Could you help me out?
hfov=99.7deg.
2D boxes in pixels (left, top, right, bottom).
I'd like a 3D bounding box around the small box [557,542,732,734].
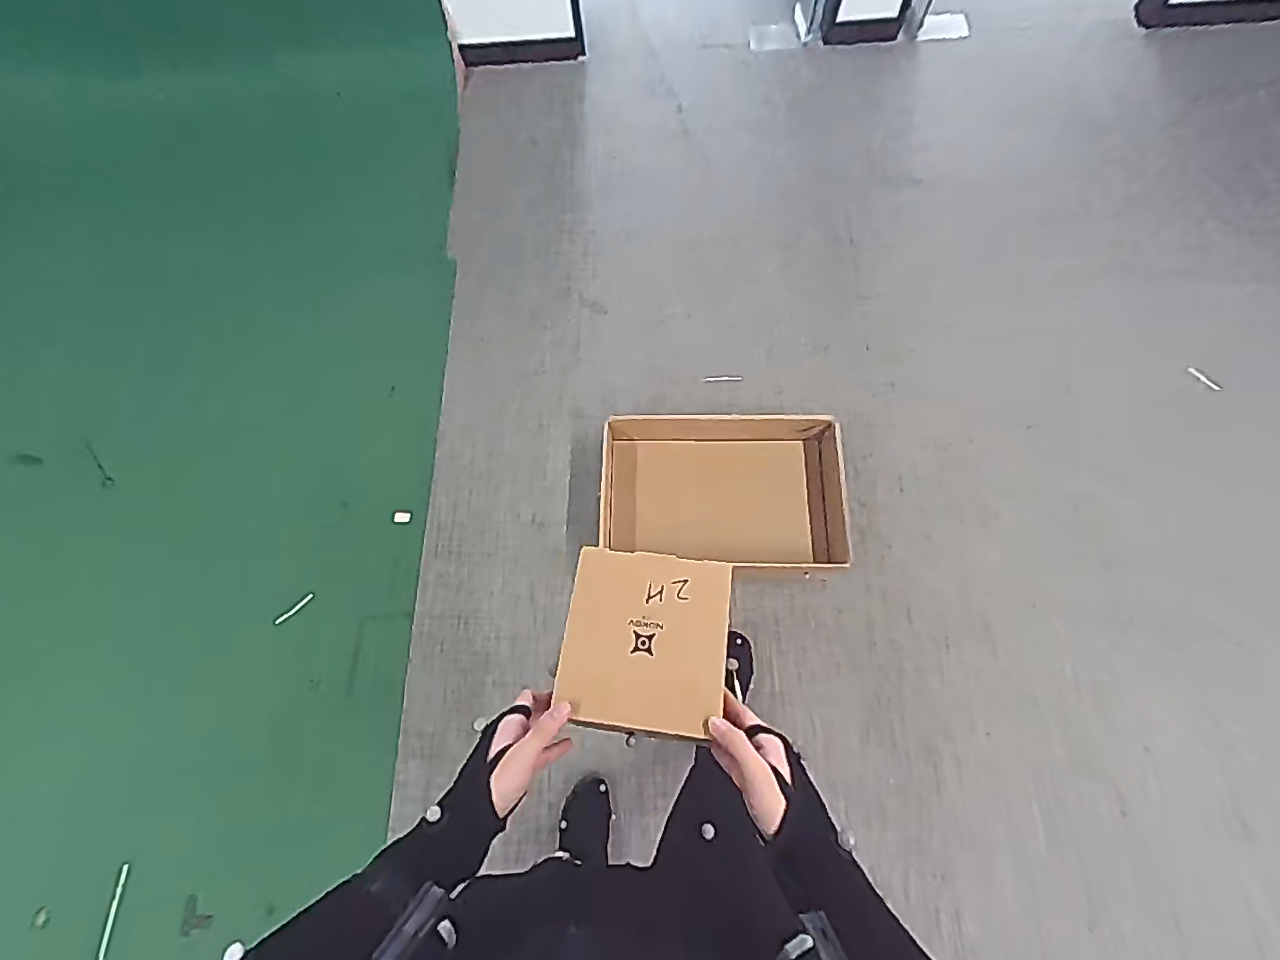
[{"bbox_3d":[0.014,0.190,0.630,0.168,0.176,0.179,5,62,6],"label":"small box"}]
